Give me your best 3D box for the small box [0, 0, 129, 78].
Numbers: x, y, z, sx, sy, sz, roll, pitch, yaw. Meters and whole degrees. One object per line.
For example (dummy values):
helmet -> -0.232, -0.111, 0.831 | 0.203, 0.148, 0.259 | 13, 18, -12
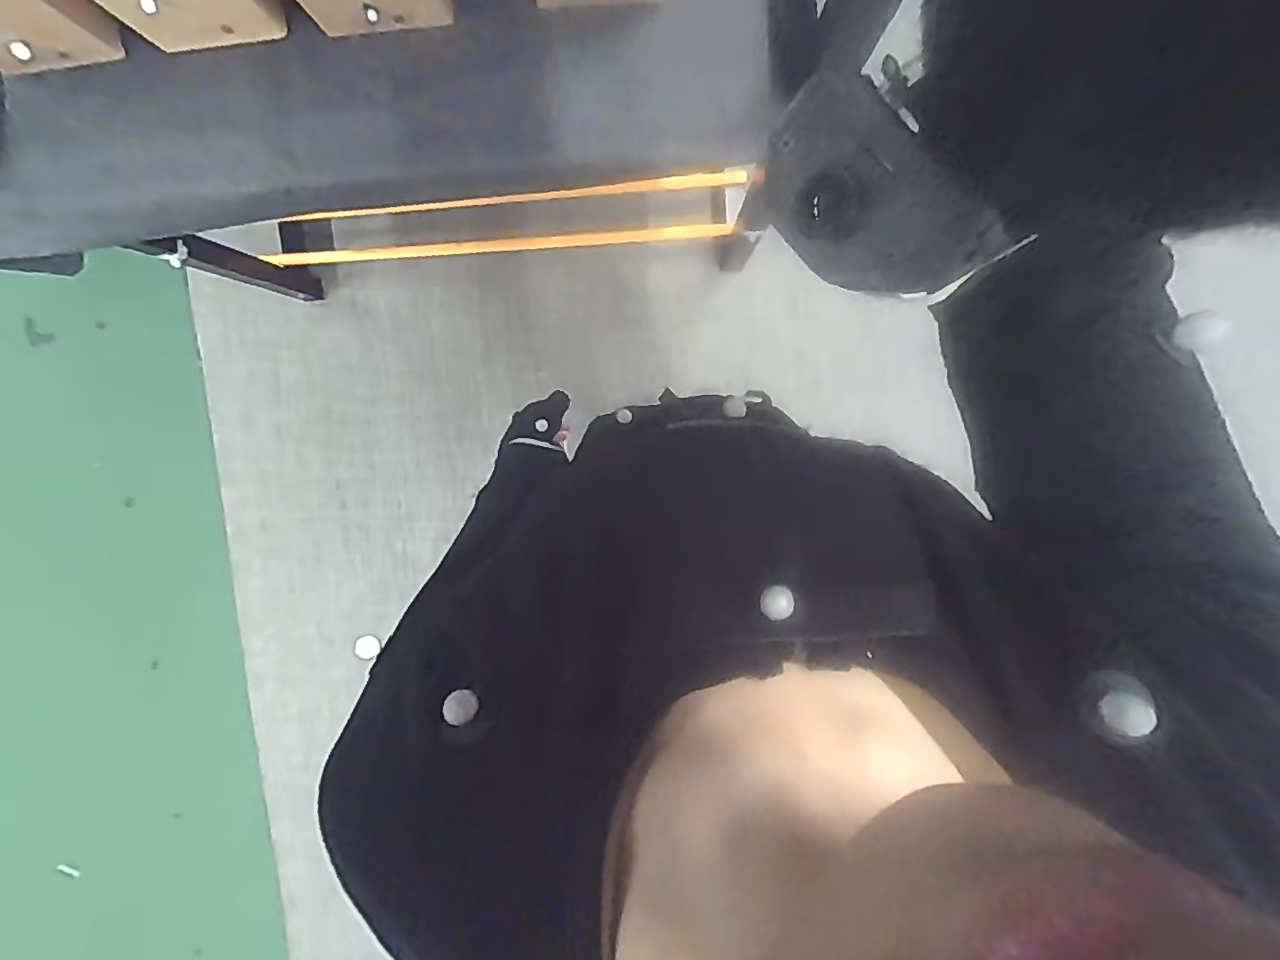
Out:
small box -> -0.757, -0.614, 0.624 | 0.168, 0.176, 0.179 | -5, 97, 3
